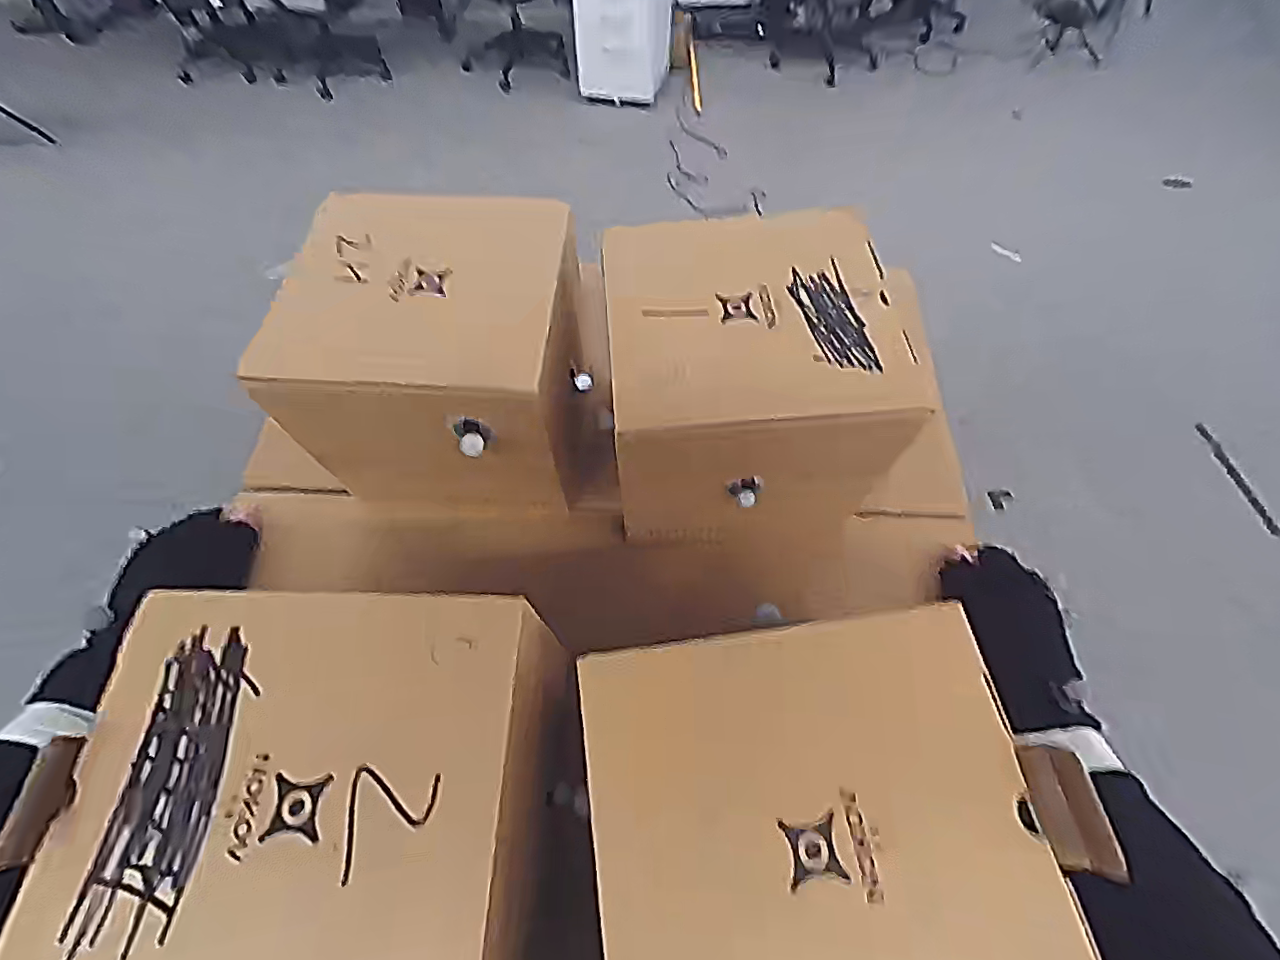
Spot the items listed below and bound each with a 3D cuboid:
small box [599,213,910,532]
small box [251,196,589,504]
[{"bbox_3d":[0.064,-0.070,0.410,0.179,0.176,0.168,-5,62,0],"label":"small box"},{"bbox_3d":[-0.139,-0.090,0.425,0.179,0.176,0.168,3,61,3],"label":"small box"}]
